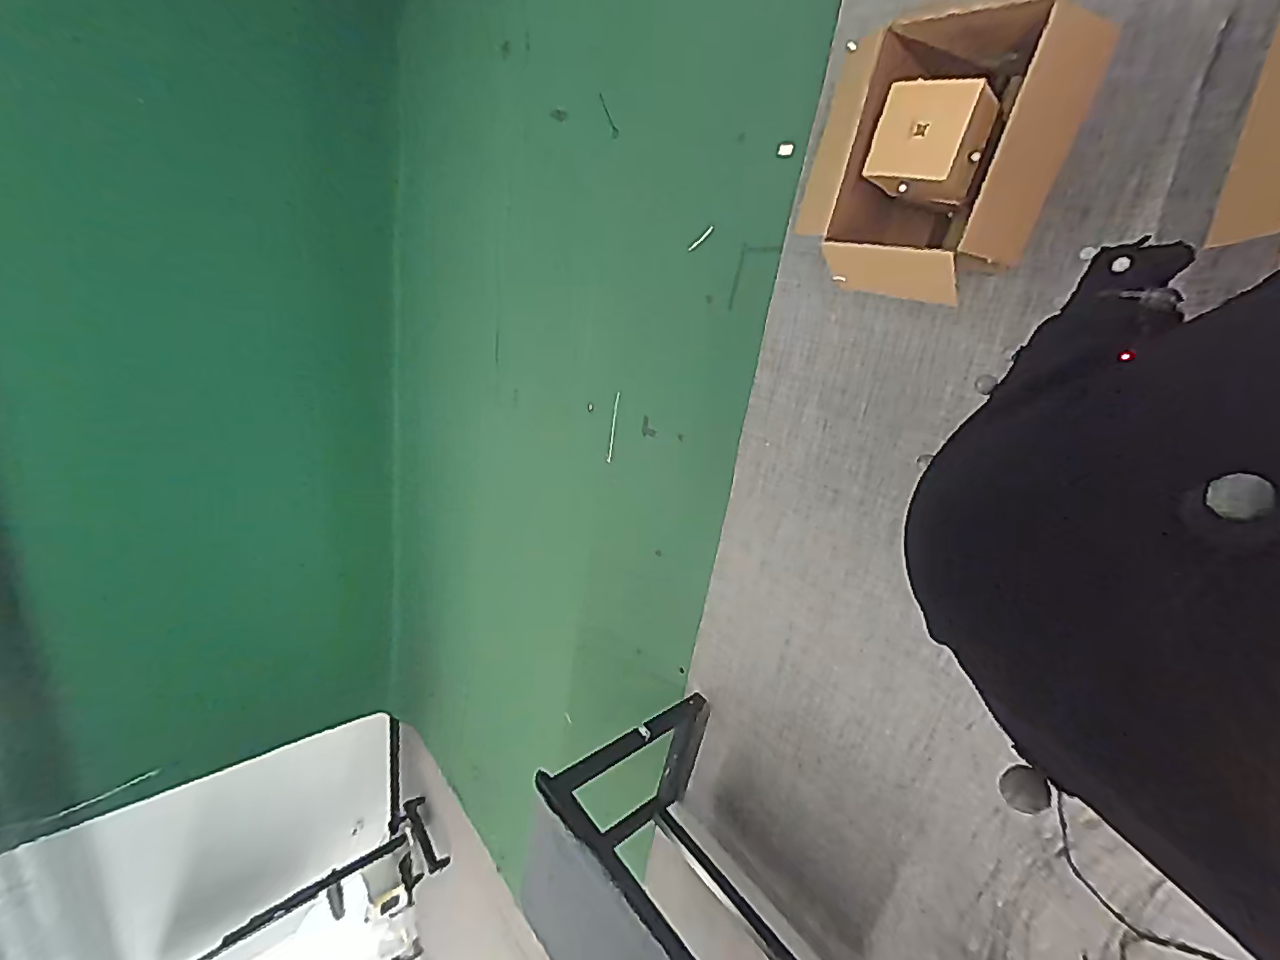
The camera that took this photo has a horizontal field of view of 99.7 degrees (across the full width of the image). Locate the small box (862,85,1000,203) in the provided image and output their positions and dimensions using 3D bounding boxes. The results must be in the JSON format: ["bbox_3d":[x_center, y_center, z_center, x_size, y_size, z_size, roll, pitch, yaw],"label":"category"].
[{"bbox_3d":[0.594,-0.675,1.099,0.179,0.176,0.168,31,117,39],"label":"small box"}]
